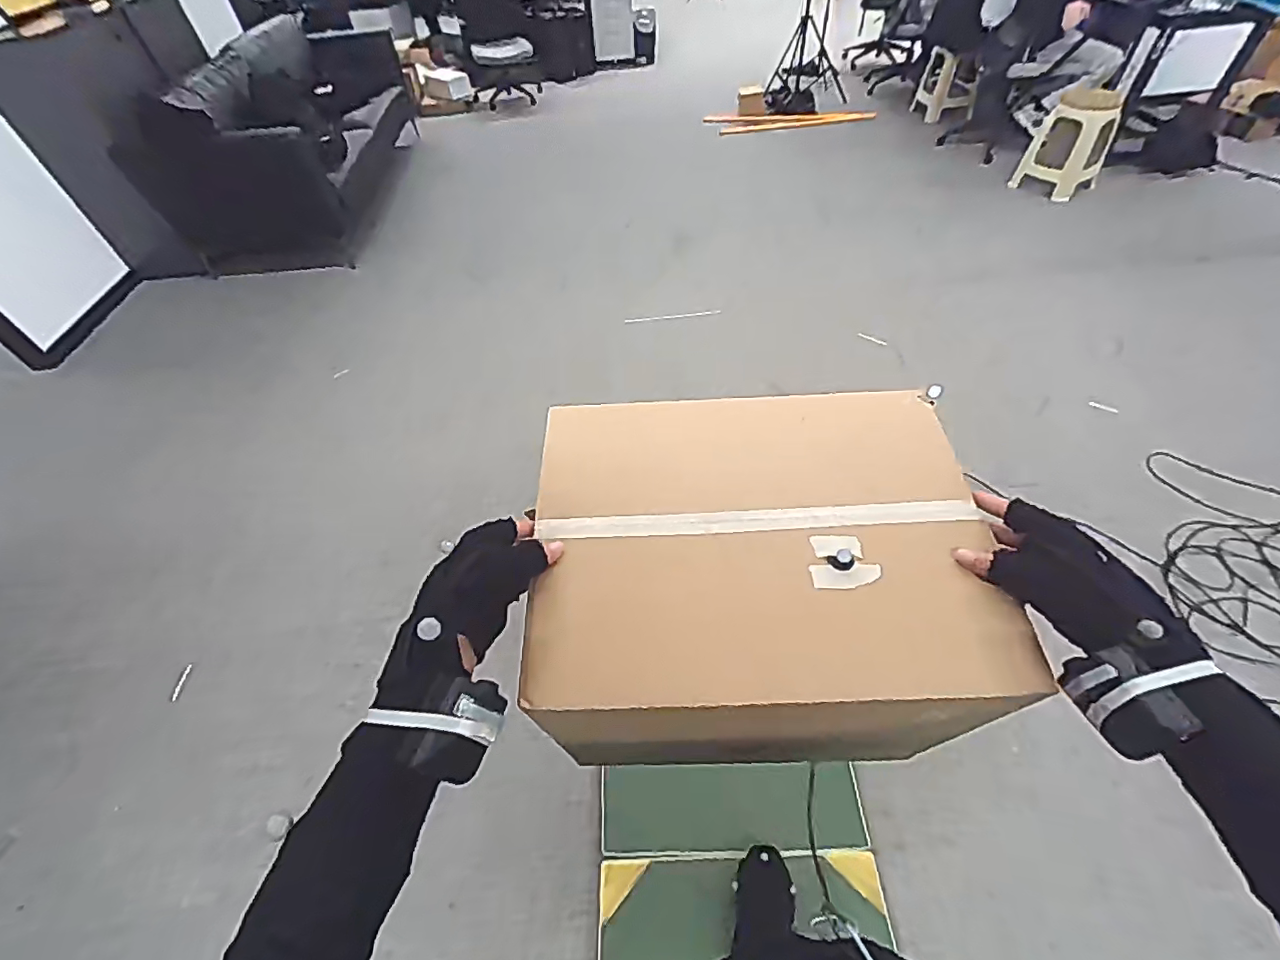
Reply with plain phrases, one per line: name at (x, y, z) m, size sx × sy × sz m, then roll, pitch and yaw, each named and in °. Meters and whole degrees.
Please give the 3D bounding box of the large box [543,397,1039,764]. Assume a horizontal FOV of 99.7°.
large box at (0.117, 0.129, 0.632) m, size 0.408 × 0.320 × 0.320 m, roll -3°, pitch 55°, yaw 1°
